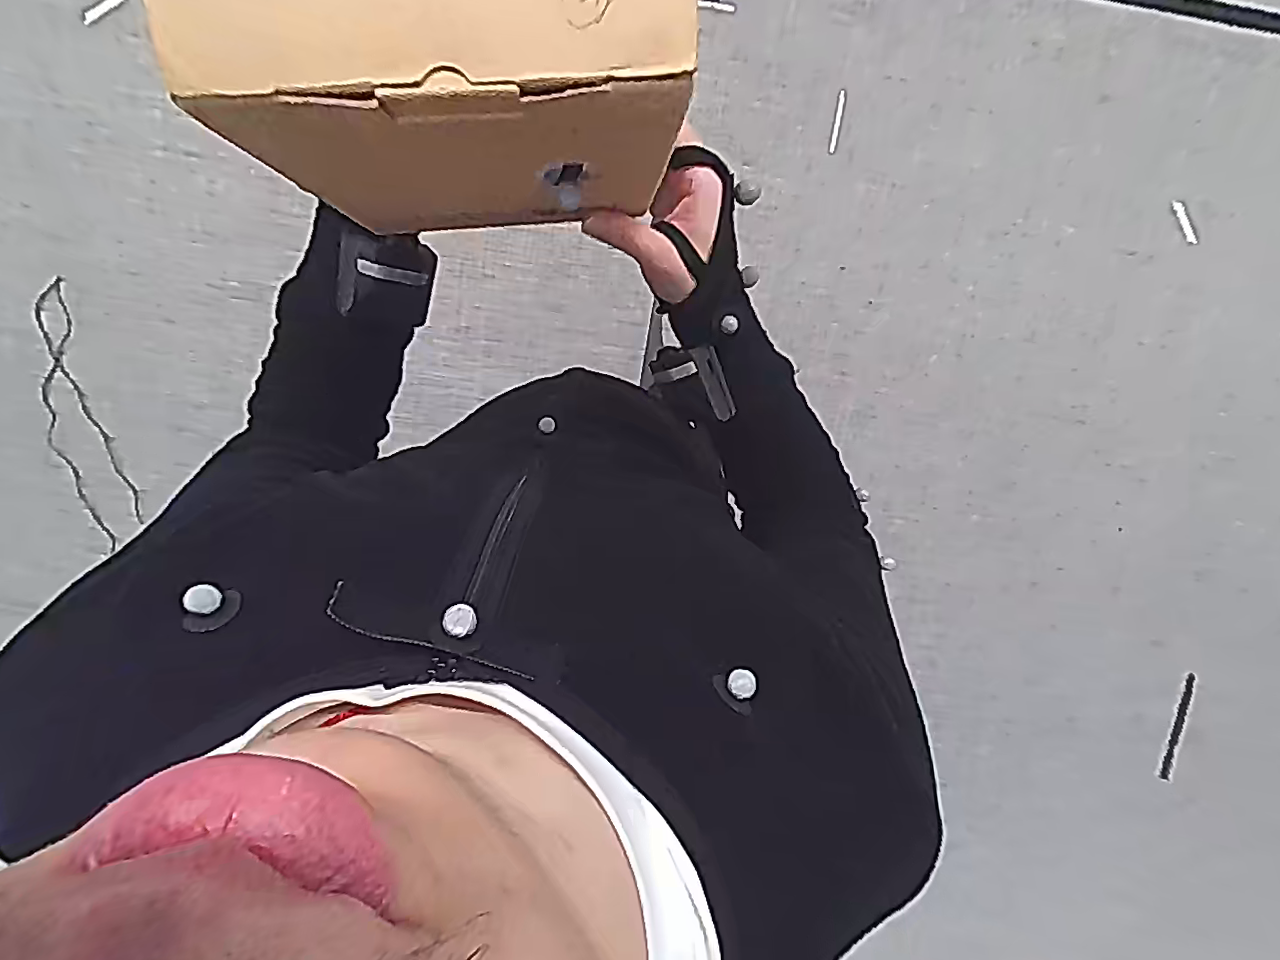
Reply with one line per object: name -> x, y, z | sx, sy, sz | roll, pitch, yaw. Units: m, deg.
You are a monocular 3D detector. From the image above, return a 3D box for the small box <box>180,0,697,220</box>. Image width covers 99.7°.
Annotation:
small box -> -0.076, -0.228, 0.240 | 0.168, 0.176, 0.179 | -7, 102, -6
